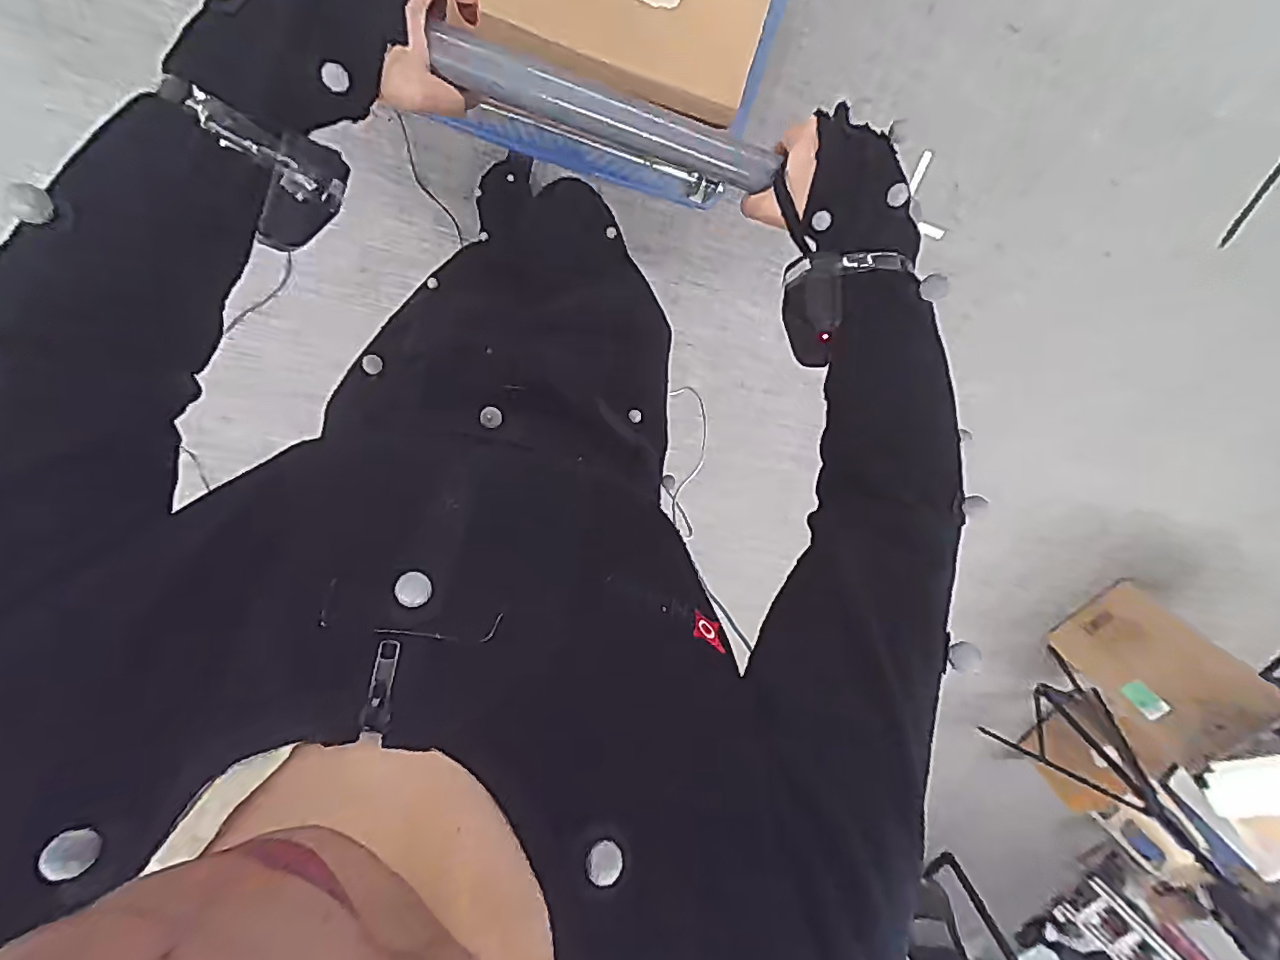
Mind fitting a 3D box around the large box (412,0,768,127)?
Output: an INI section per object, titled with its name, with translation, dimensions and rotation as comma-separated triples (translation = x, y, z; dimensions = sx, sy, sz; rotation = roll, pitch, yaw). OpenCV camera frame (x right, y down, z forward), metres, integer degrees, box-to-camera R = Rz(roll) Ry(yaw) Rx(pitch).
[large box]
translation = -0.059, -0.694, 0.702
dimensions = 0.408, 0.320, 0.320
rotation = 7, 121, -18
